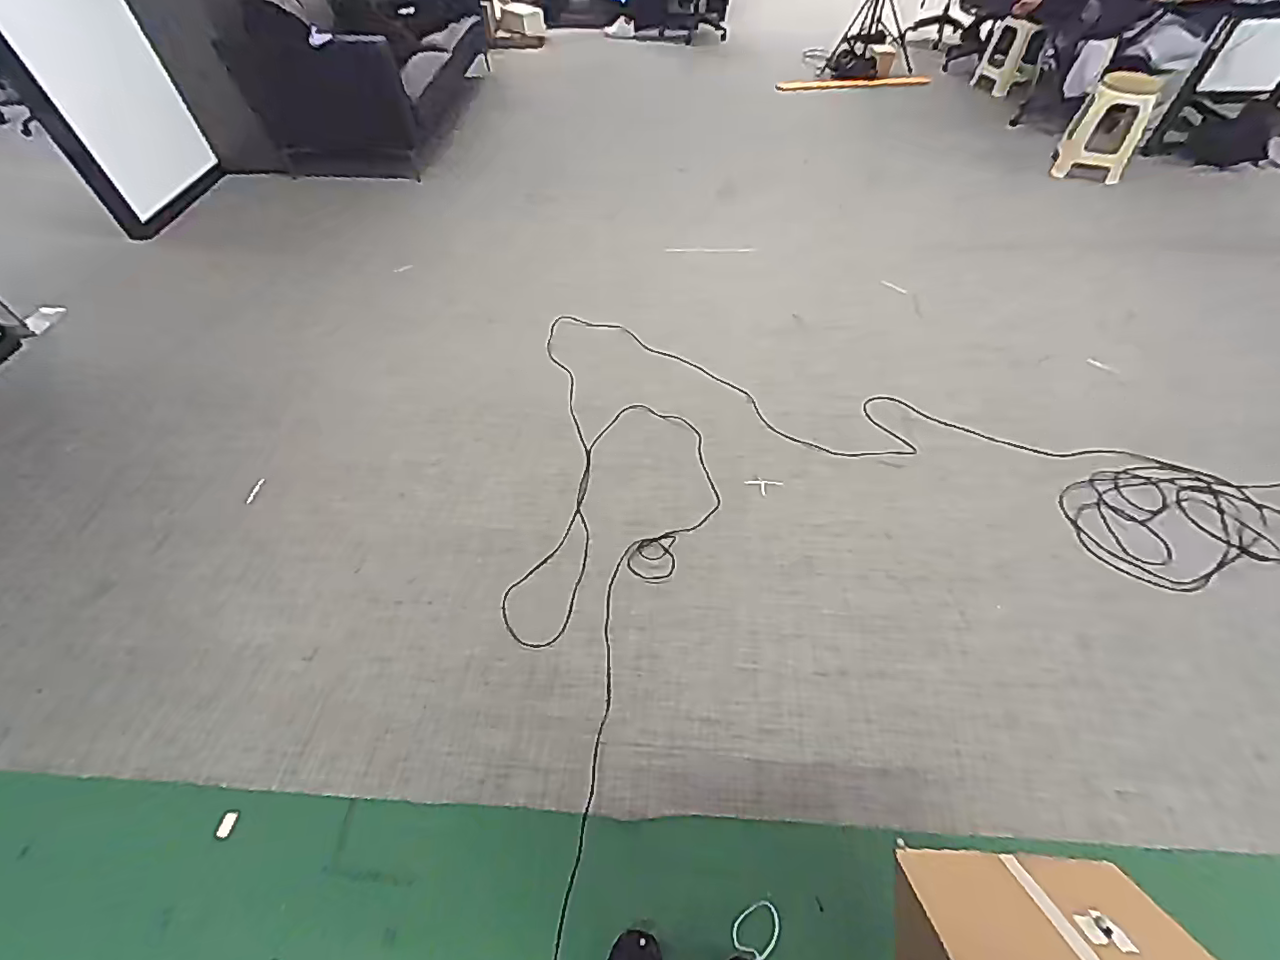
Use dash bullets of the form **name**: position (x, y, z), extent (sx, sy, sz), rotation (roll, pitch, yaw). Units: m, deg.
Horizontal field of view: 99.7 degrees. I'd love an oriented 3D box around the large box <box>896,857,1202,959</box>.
- **large box**: position (0.523, 0.729, 0.614), extent (0.320, 0.408, 0.320), rotation (1, 91, 6)
